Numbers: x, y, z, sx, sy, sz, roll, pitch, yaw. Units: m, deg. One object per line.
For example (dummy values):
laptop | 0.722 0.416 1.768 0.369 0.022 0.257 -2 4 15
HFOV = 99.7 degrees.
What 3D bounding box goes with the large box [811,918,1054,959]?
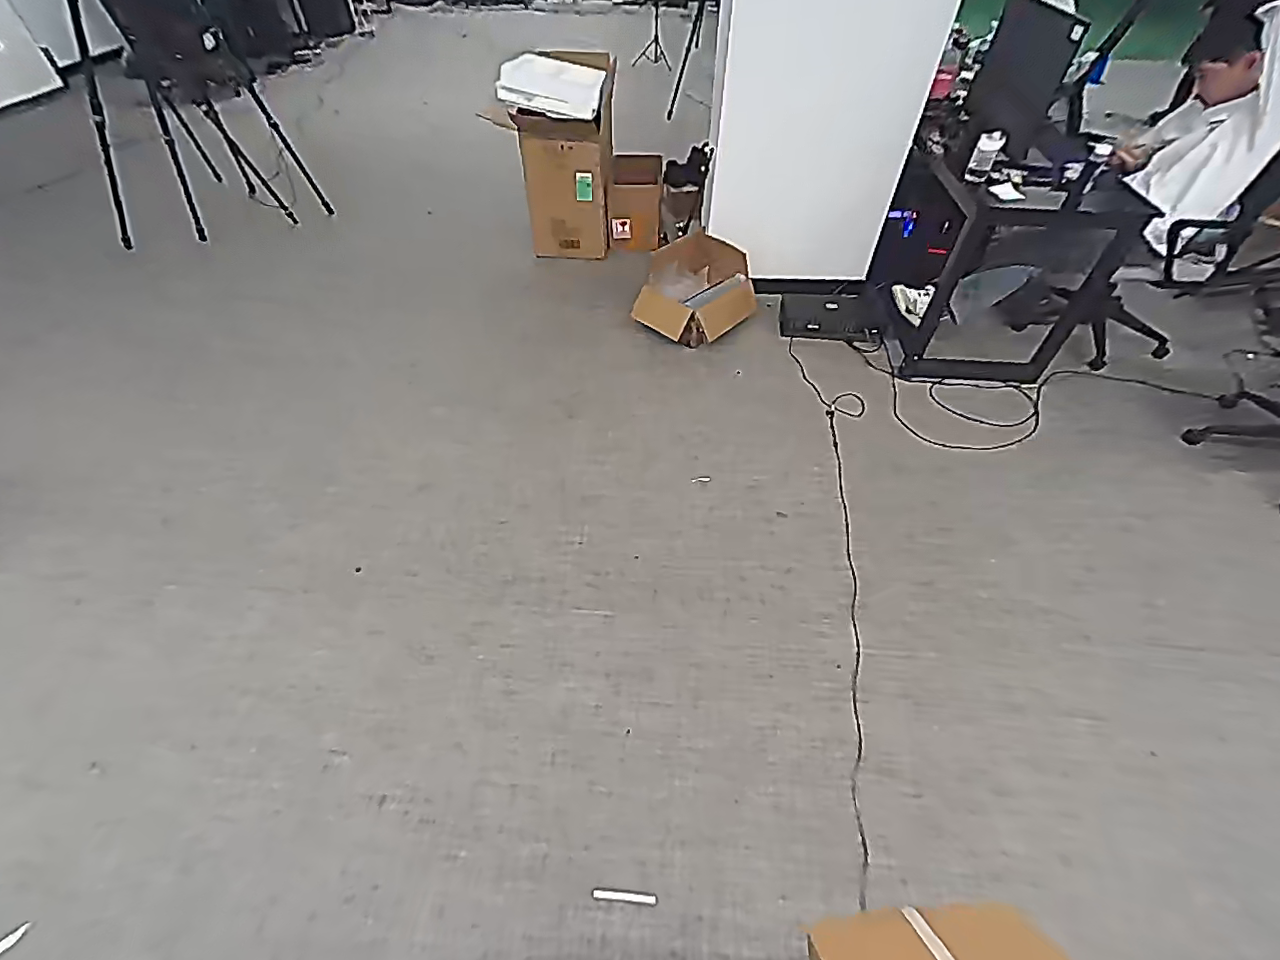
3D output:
large box | 0.416 0.785 0.590 0.320 0.408 0.320 -5 83 -1
